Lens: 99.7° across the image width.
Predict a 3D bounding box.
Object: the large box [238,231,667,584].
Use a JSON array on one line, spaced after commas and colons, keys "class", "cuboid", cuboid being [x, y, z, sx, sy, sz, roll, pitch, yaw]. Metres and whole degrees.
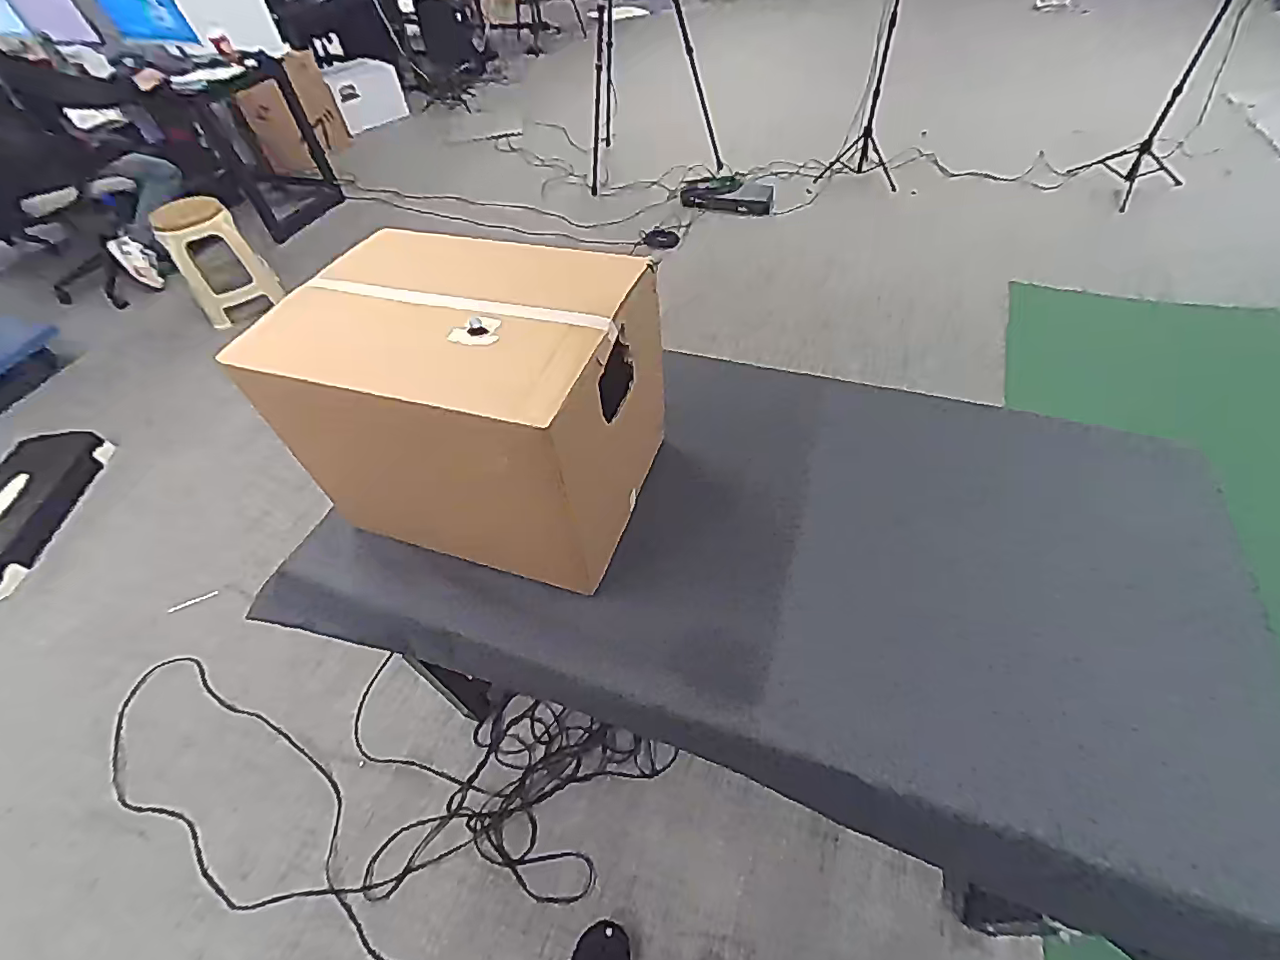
[{"class": "large box", "cuboid": [-0.197, -0.104, 0.740, 0.408, 0.320, 0.320, 13, 53, 14]}]
